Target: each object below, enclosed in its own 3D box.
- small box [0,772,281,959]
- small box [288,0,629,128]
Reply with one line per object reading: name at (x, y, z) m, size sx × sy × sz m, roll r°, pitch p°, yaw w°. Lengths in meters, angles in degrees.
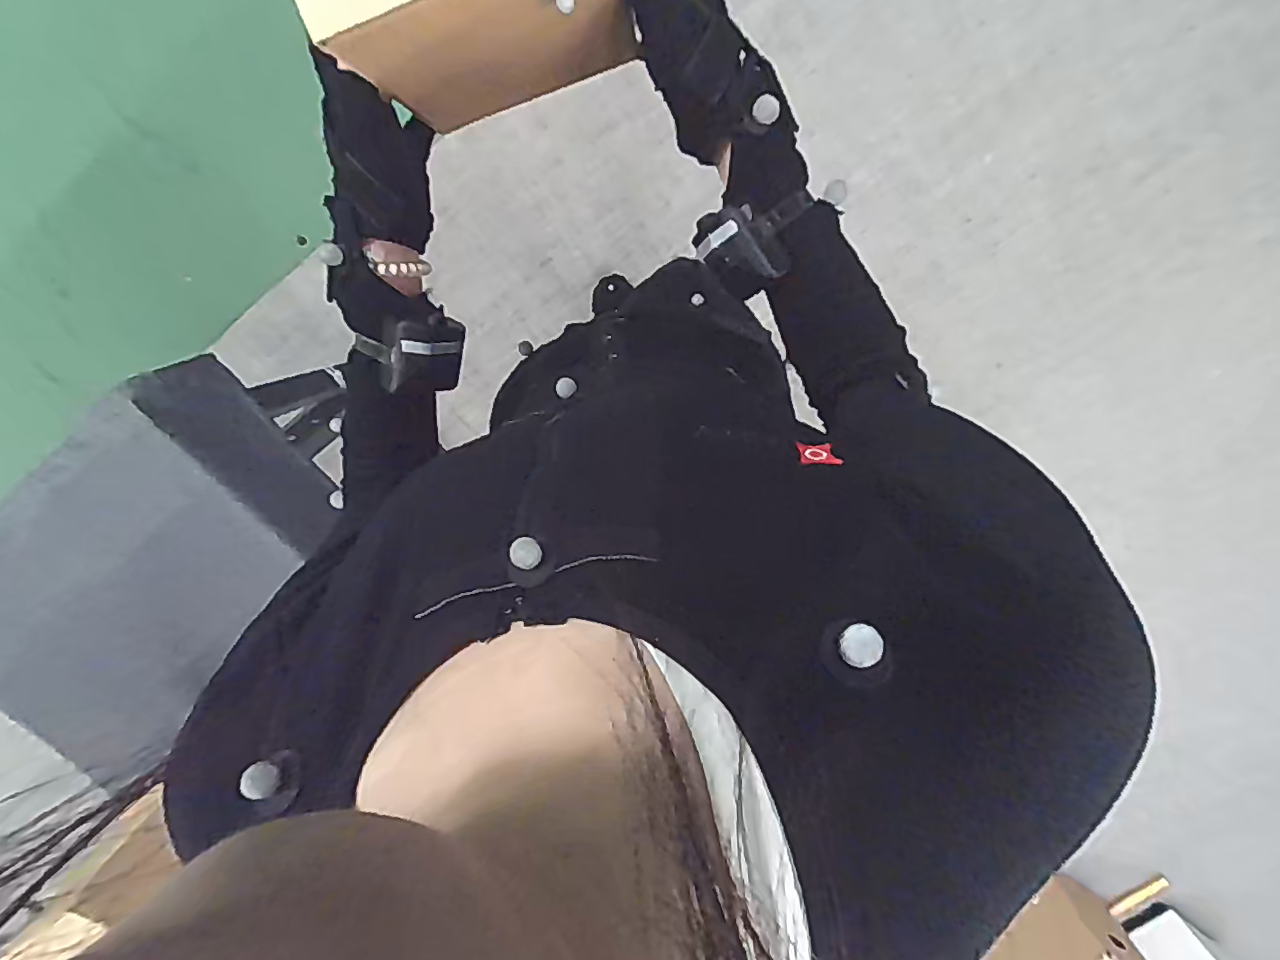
small box at (-0.609, 0.517, 0.680) m, size 0.179 × 0.176 × 0.168 m, roll -37°, pitch 106°, yaw 12°
small box at (-0.115, -0.351, 0.331) m, size 0.179 × 0.176 × 0.168 m, roll -16°, pitch 106°, yaw 7°
